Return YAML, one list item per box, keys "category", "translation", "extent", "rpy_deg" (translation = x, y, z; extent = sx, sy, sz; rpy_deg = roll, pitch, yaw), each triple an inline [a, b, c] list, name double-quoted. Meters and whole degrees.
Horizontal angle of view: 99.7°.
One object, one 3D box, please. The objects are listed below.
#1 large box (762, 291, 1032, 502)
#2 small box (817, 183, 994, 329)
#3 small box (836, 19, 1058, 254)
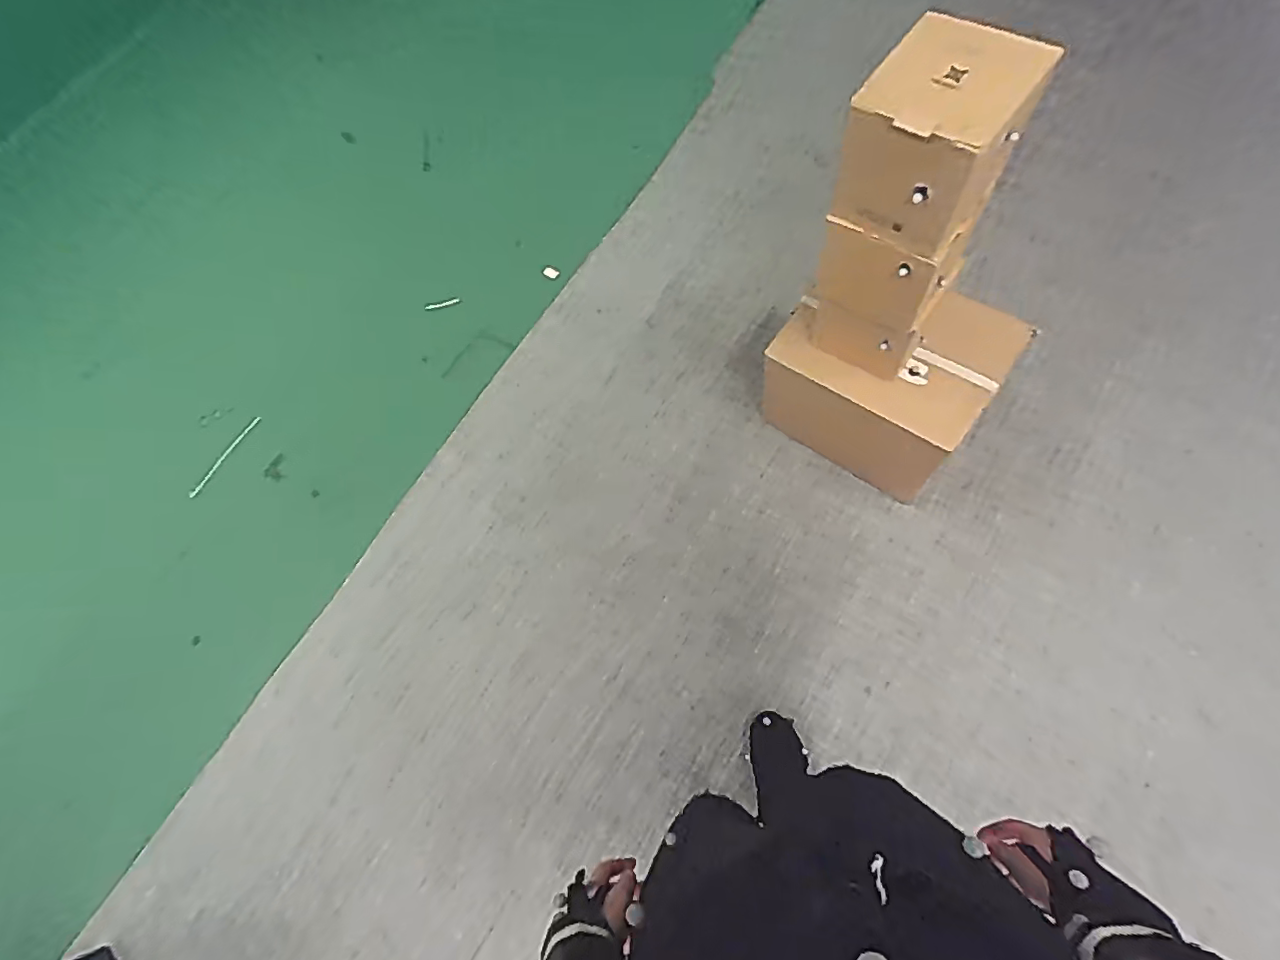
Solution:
- category: "large box"
  translation: [0.529, -0.215, 1.208]
  extent: [0.408, 0.320, 0.320]
  rpy_deg: [35, 81, 20]
- category: "small box"
  translation: [0.400, -0.369, 0.850]
  extent: [0.179, 0.176, 0.168]
  rpy_deg: [33, 79, 20]
- category: "small box"
  translation: [0.376, -0.434, 0.702]
  extent: [0.168, 0.176, 0.179]
  rpy_deg: [36, 79, 19]
